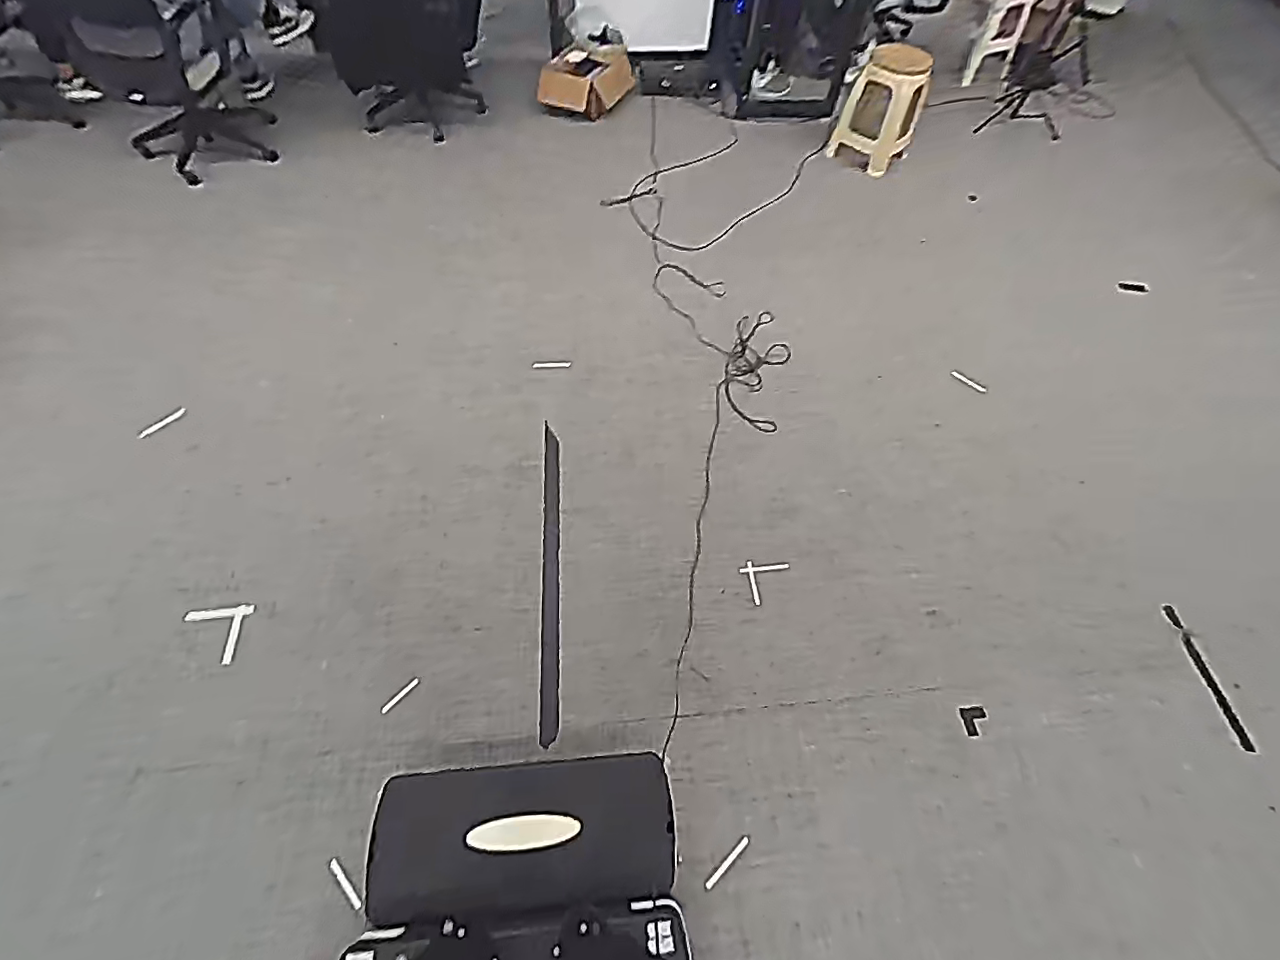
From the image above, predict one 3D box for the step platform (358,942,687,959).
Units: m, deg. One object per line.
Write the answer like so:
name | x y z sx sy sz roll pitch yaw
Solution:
step platform | -0.231 1.057 1.001 0.684 0.204 0.286 0 56 -1
